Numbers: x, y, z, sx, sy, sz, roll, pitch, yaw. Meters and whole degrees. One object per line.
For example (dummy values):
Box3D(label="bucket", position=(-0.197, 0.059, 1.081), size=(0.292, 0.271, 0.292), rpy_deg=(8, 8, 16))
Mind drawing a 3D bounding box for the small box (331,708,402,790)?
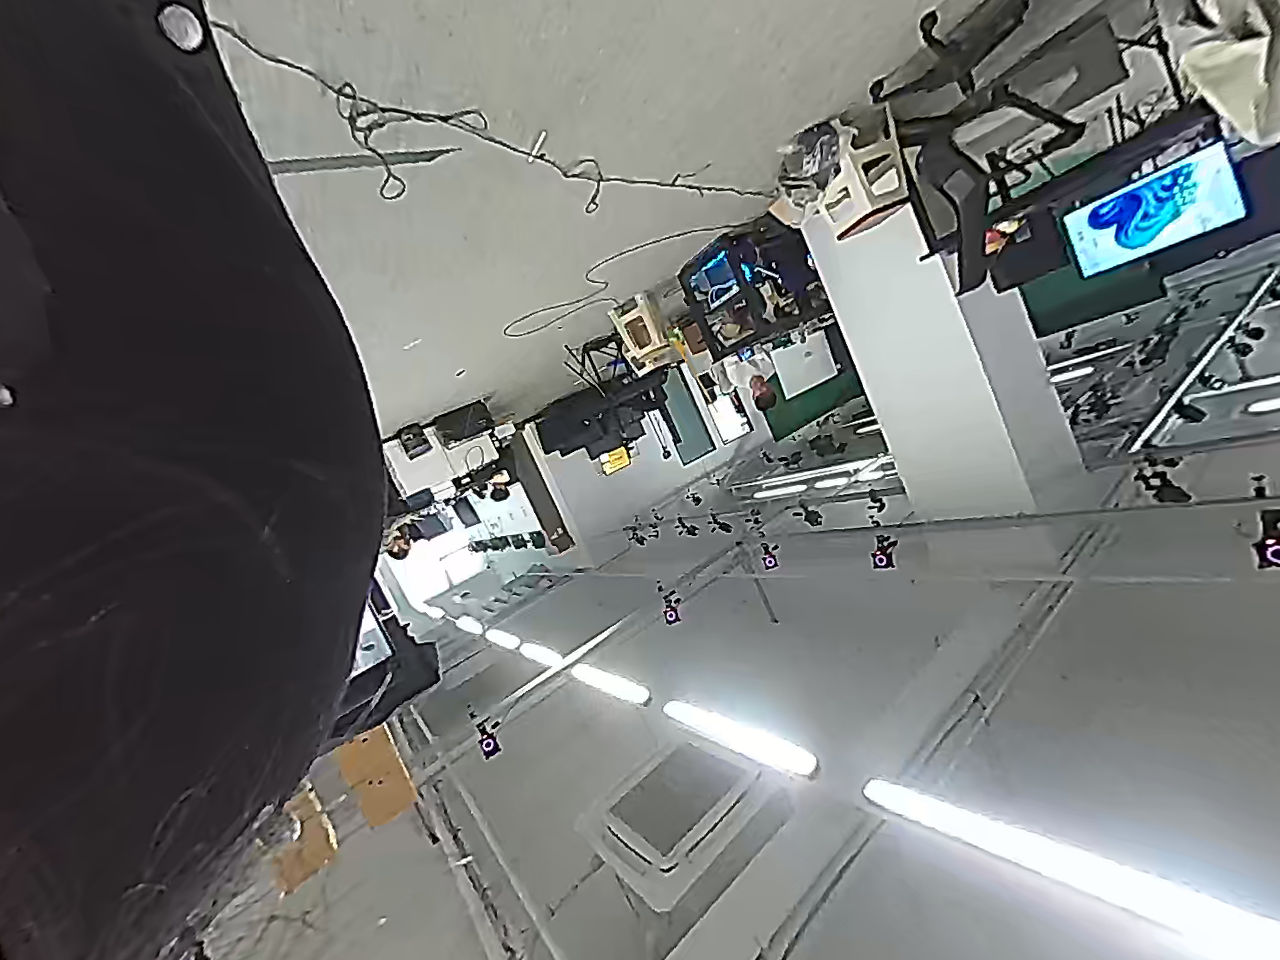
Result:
Box3D(label="small box", position=(-0.953, 0.925, 1.879), size=(0.168, 0.176, 0.179), rpy_deg=(-26, -173, -30))

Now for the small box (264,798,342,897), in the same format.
Box3D(label="small box", position=(-1.096, 1.186, 1.759), size=(0.168, 0.176, 0.179), rpy_deg=(-27, -173, -32))

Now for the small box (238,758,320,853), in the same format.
Box3D(label="small box", position=(-1.160, 1.035, 1.739), size=(0.168, 0.176, 0.179), rpy_deg=(-29, -171, -32))
